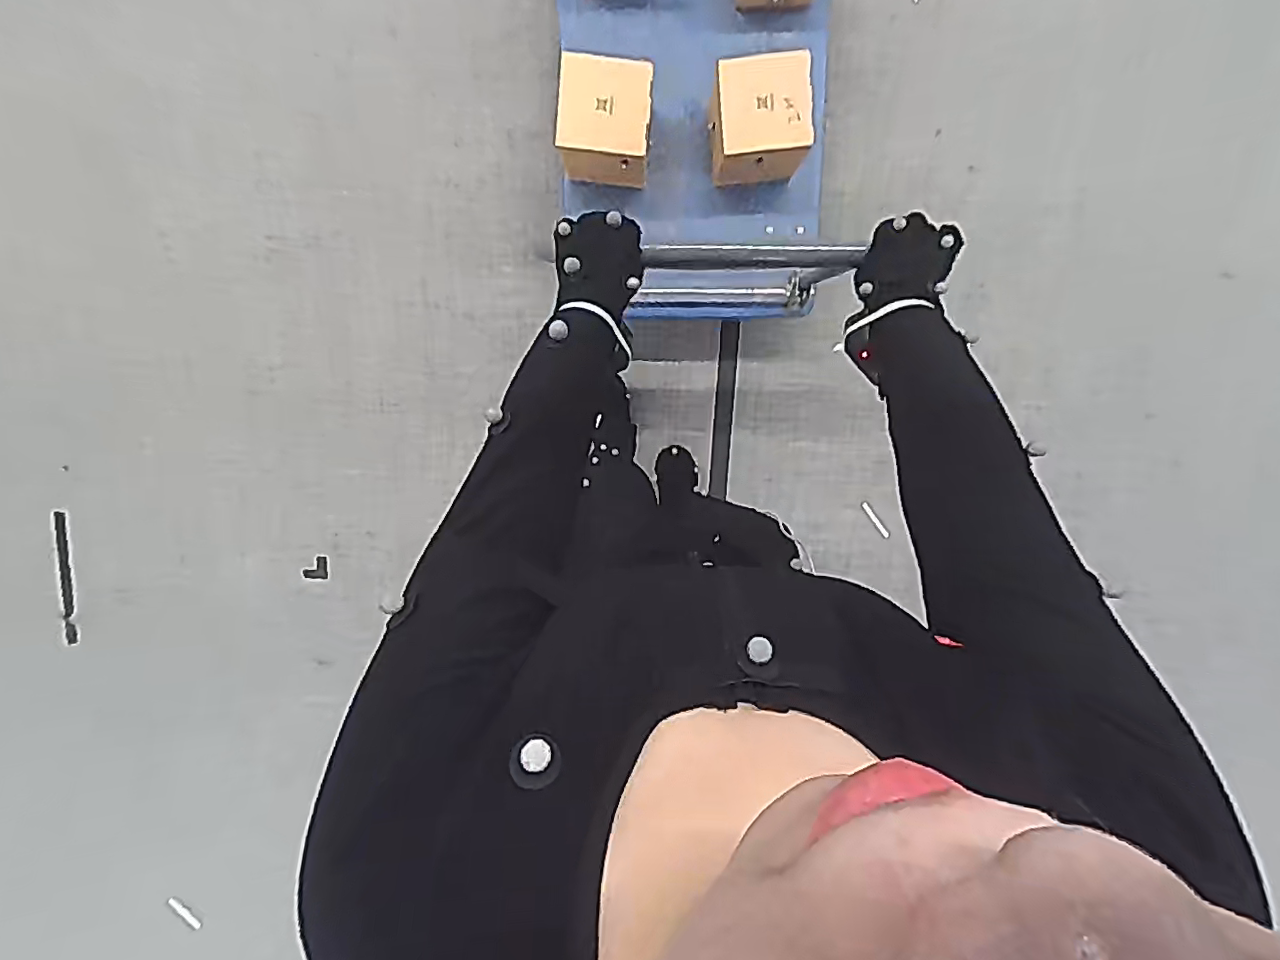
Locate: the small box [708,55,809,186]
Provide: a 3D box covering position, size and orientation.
[{"bbox_3d":[0.235,-0.723,1.107,0.179,0.176,0.168,-6,100,1],"label":"small box"}]

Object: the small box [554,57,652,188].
[{"bbox_3d":[-0.072,-0.720,1.109,0.179,0.176,0.168,5,99,-2],"label":"small box"}]

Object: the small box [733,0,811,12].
[{"bbox_3d":[0.273,-1.061,1.047,0.168,0.176,0.179,-2,101,1],"label":"small box"}]
